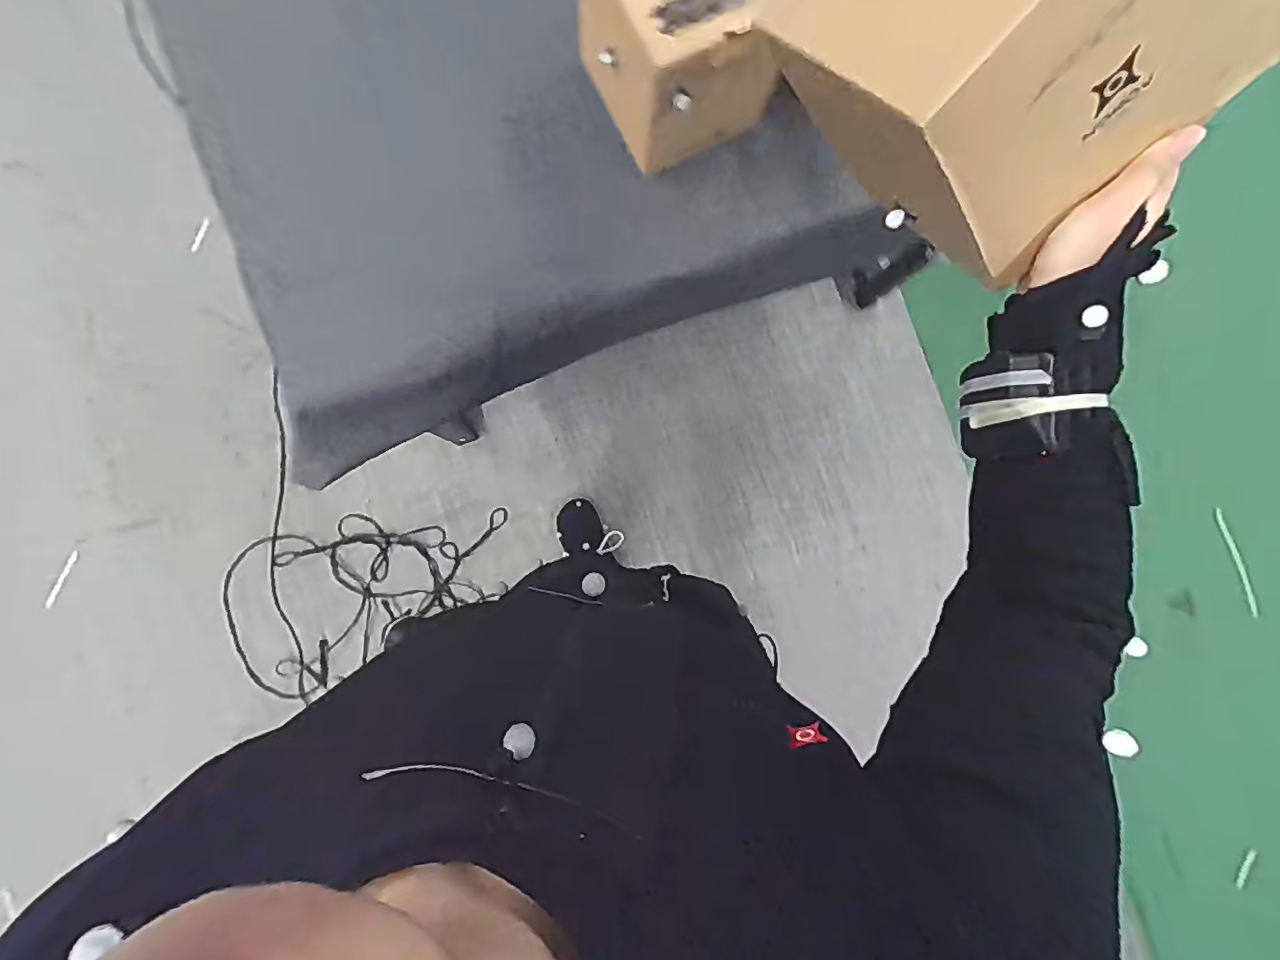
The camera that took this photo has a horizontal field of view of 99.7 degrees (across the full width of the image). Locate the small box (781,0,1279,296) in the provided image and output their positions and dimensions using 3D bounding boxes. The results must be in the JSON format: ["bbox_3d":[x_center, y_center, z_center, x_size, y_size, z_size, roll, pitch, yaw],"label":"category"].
[{"bbox_3d":[0.217,-0.249,0.309,0.168,0.179,0.176,-44,51,26],"label":"small box"}]
